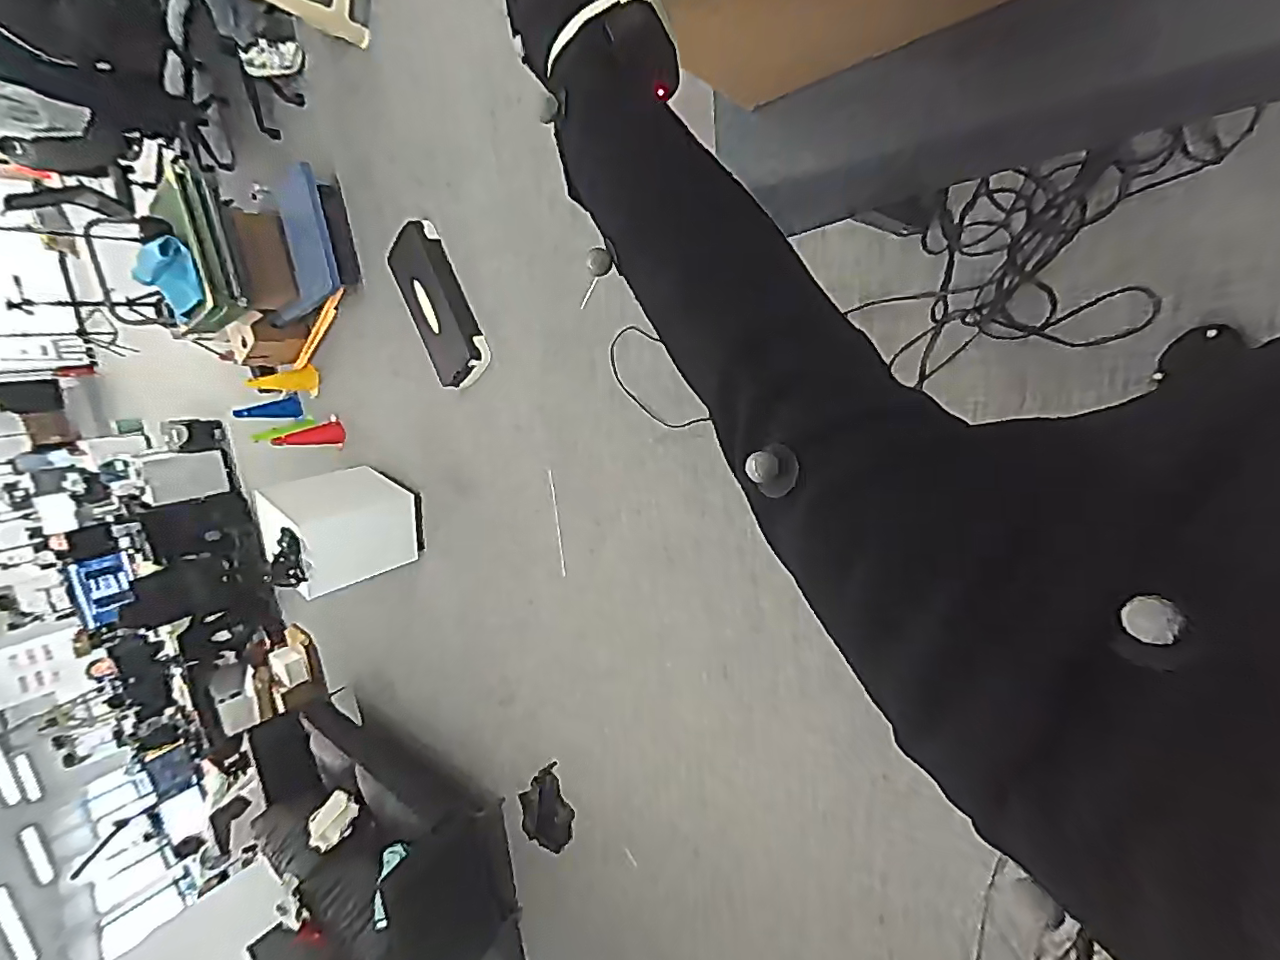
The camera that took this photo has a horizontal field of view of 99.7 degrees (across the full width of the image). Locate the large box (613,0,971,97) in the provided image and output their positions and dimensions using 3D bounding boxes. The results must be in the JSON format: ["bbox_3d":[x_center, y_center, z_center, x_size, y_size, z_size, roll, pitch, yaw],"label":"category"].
[{"bbox_3d":[0.172,-0.538,0.350,0.408,0.320,0.320,3,105,38],"label":"large box"}]
